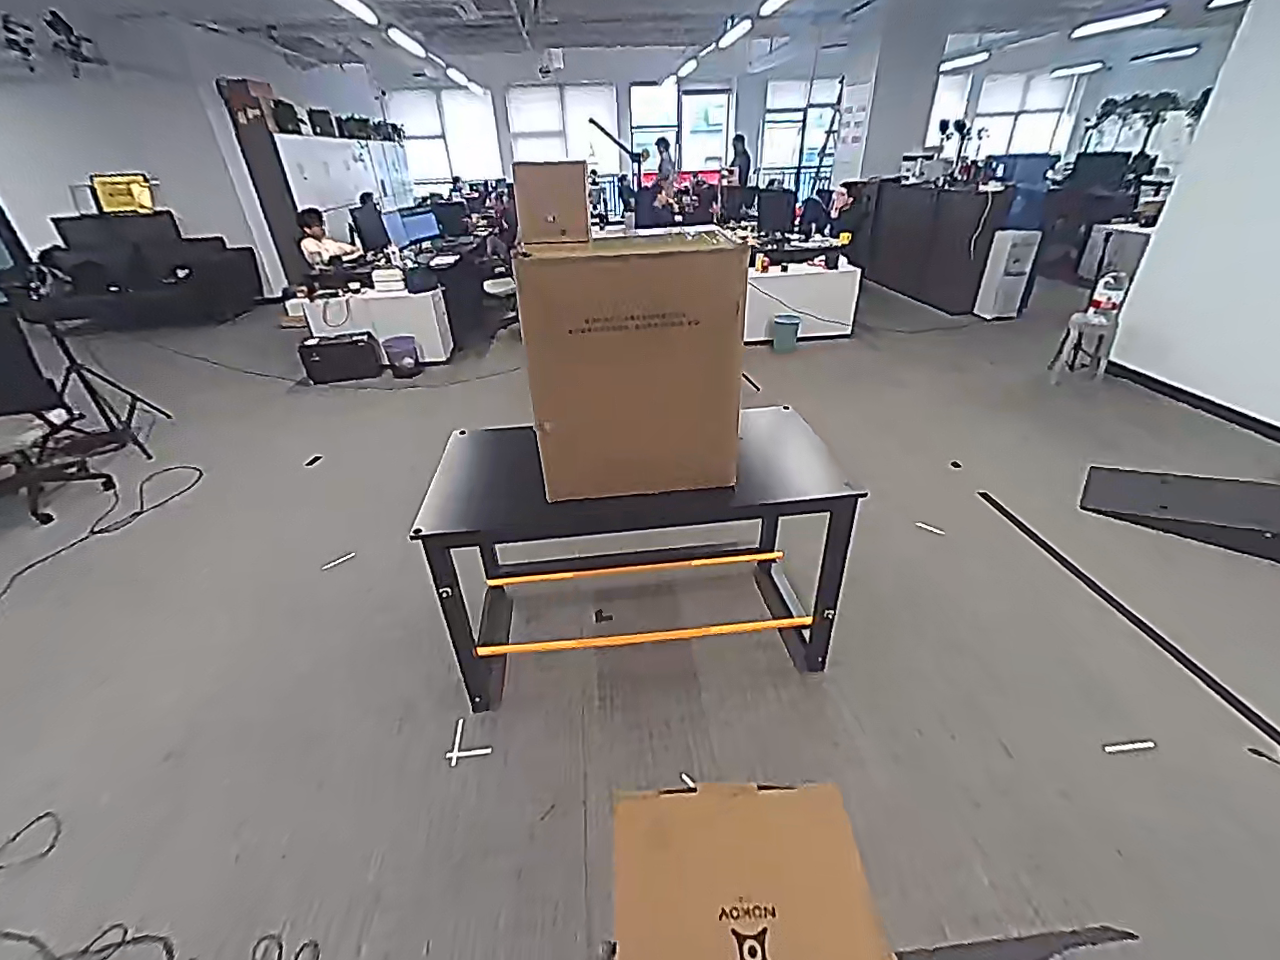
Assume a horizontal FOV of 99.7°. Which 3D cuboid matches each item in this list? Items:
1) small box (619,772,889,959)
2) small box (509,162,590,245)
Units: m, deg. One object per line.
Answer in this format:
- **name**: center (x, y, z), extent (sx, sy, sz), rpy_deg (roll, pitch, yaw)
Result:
- **small box**: center (0.068, 0.338, 0.395), extent (0.168, 0.176, 0.179), rpy_deg (-1, 43, -2)
- **small box**: center (-0.213, -0.671, 1.313), extent (0.168, 0.176, 0.179), rpy_deg (-3, 31, -2)
